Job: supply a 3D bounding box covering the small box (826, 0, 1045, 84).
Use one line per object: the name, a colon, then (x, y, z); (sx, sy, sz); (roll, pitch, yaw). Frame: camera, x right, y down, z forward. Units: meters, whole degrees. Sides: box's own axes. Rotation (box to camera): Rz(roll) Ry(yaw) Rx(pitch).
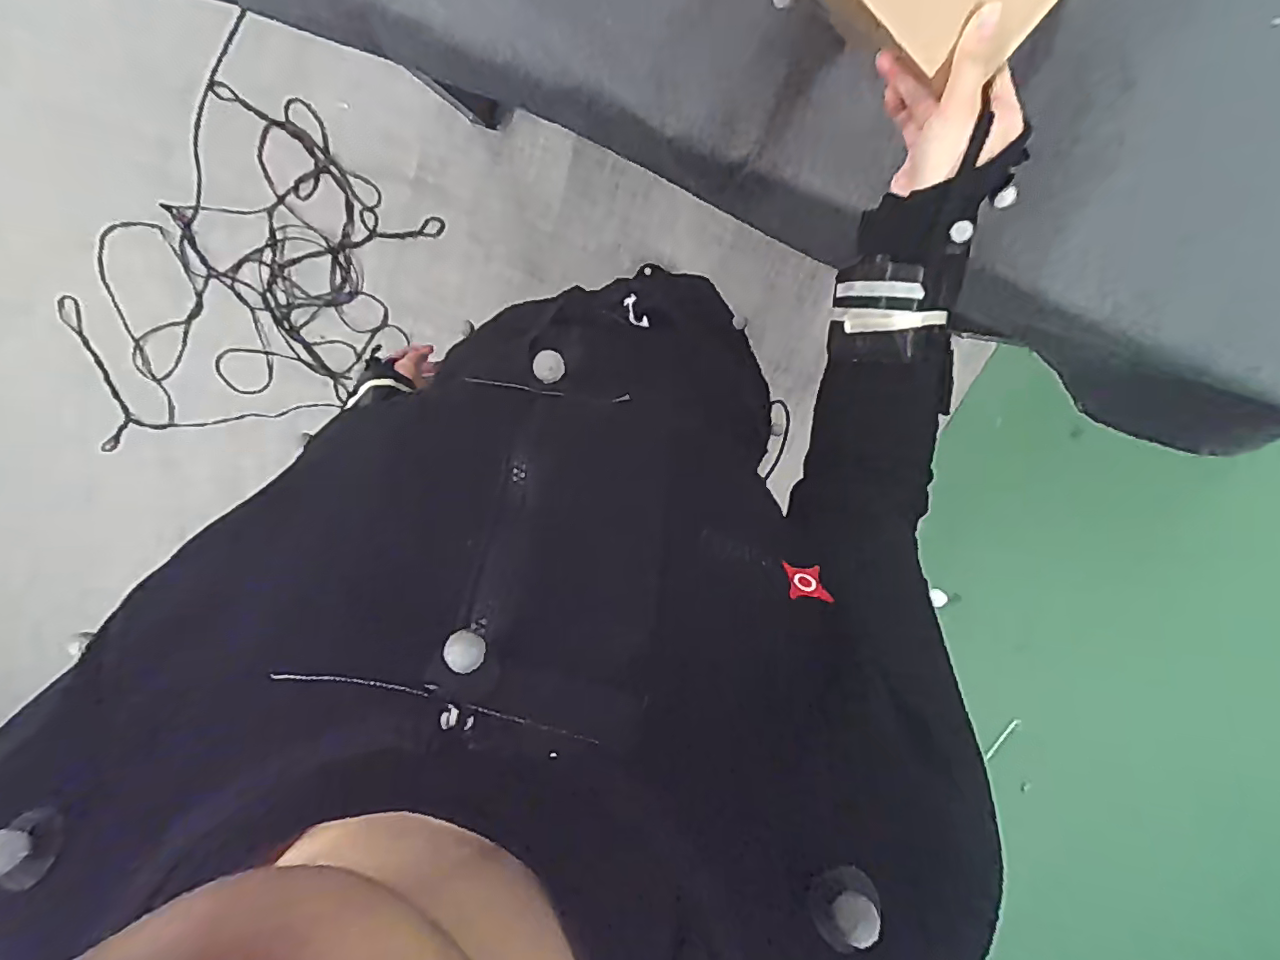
small box: (0.175, -0.385, 0.308); (0.168, 0.176, 0.179); (17, 133, -29)
